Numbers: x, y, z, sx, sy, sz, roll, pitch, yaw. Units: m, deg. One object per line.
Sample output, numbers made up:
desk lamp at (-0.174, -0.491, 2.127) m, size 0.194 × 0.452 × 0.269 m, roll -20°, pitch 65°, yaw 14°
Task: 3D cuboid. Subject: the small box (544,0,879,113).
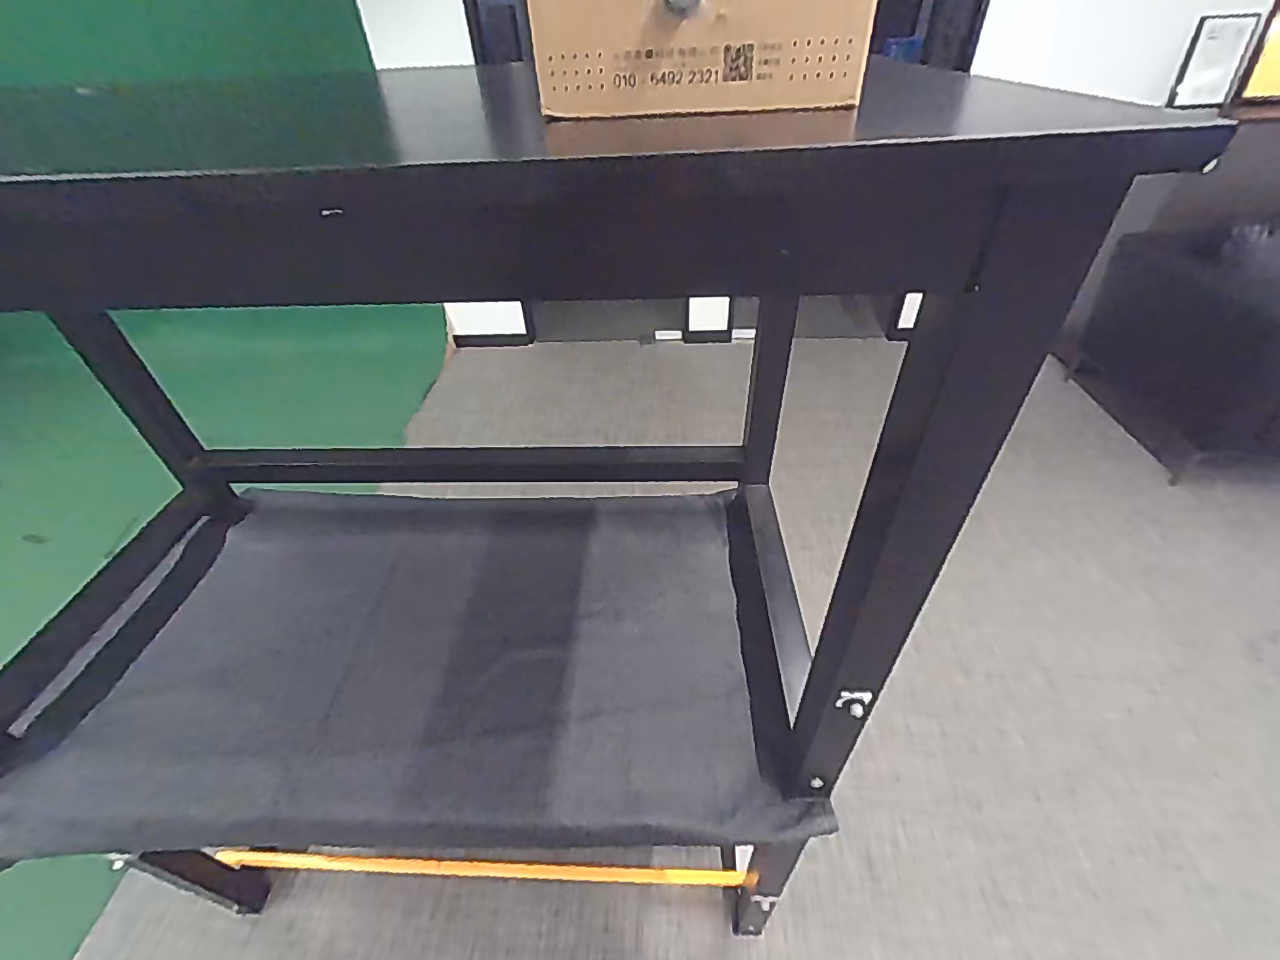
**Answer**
small box at (0.039, -0.311, 0.292) m, size 0.168 × 0.176 × 0.179 m, roll 3°, pitch 42°, yaw 8°
